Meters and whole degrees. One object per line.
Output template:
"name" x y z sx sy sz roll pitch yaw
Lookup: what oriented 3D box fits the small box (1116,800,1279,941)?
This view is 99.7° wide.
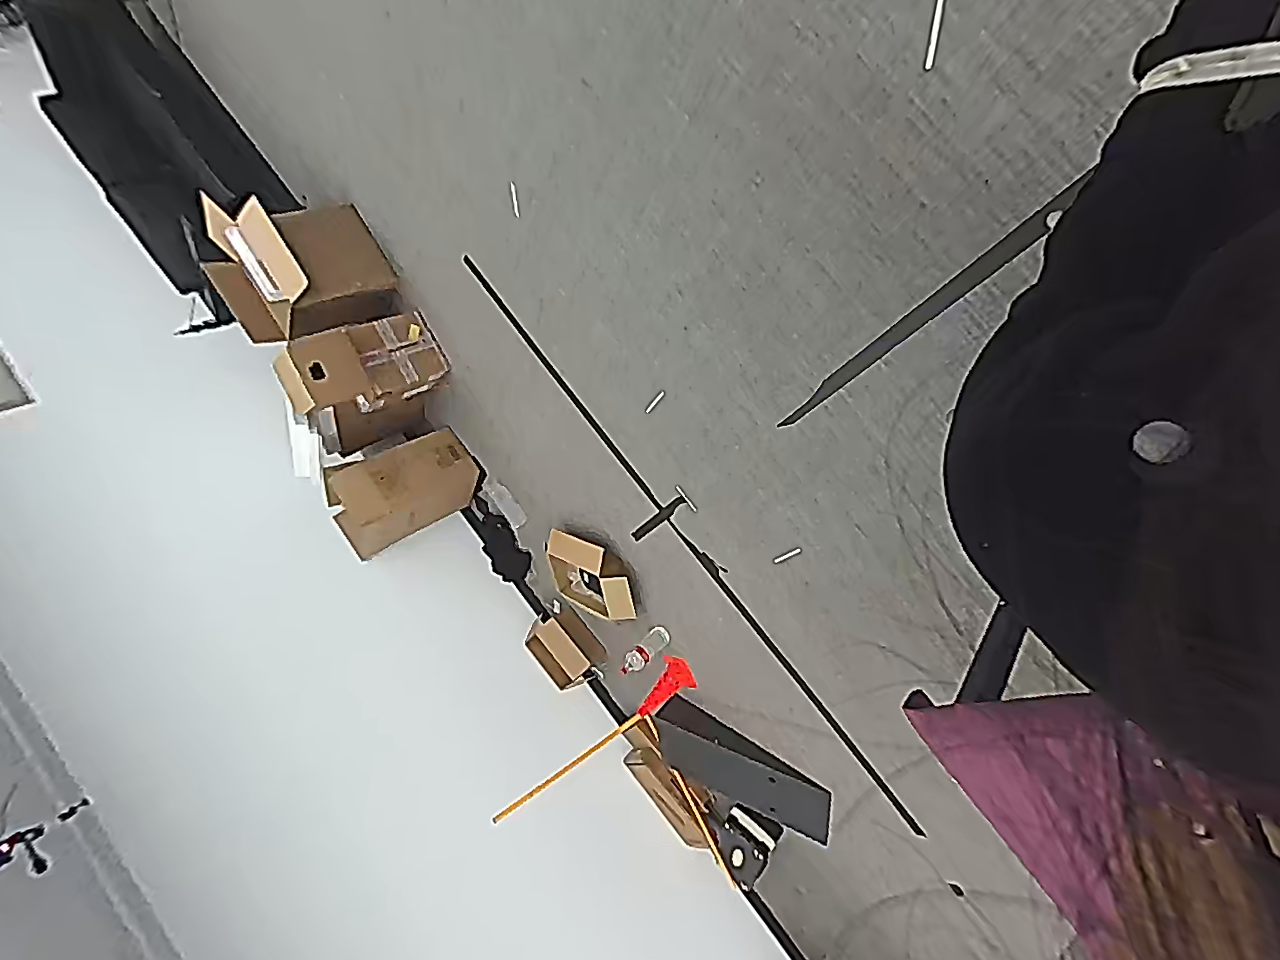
"small box" 0.766 0.552 0.690 0.179 0.176 0.168 54 143 3

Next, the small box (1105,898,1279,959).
"small box" 0.653 0.622 0.593 0.179 0.176 0.168 55 143 1
